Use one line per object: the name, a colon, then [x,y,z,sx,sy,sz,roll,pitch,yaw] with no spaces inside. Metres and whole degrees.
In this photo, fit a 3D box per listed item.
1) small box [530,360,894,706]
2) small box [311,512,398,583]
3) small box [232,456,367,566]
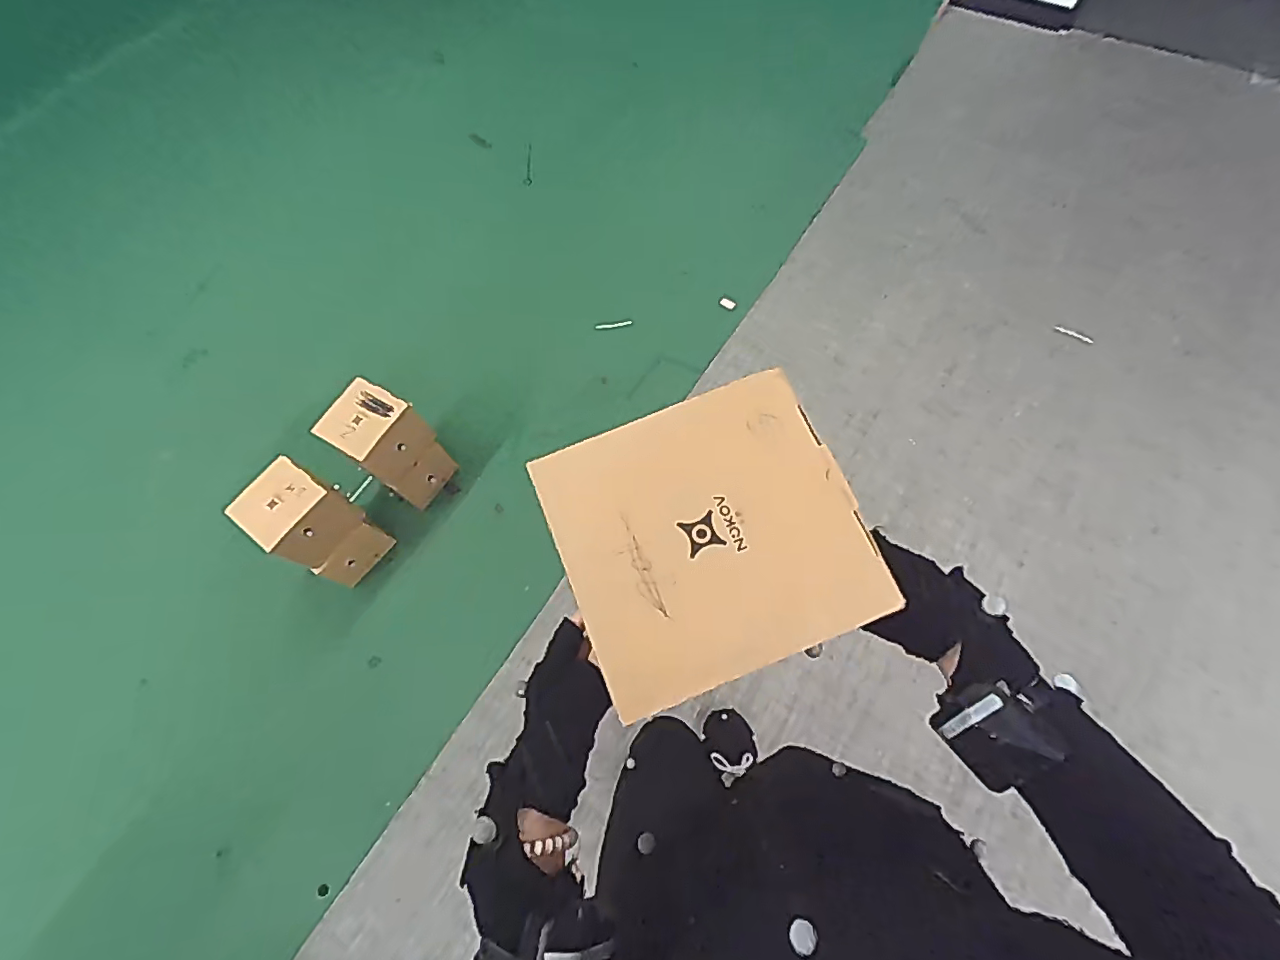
small box: [0.041,0.044,0.400,0.179,0.176,0.168,-21,74,-3]
small box: [-0.788,0.158,1.439,0.179,0.176,0.168,35,74,17]
small box: [-0.802,0.082,1.293,0.168,0.176,0.179,34,74,17]
